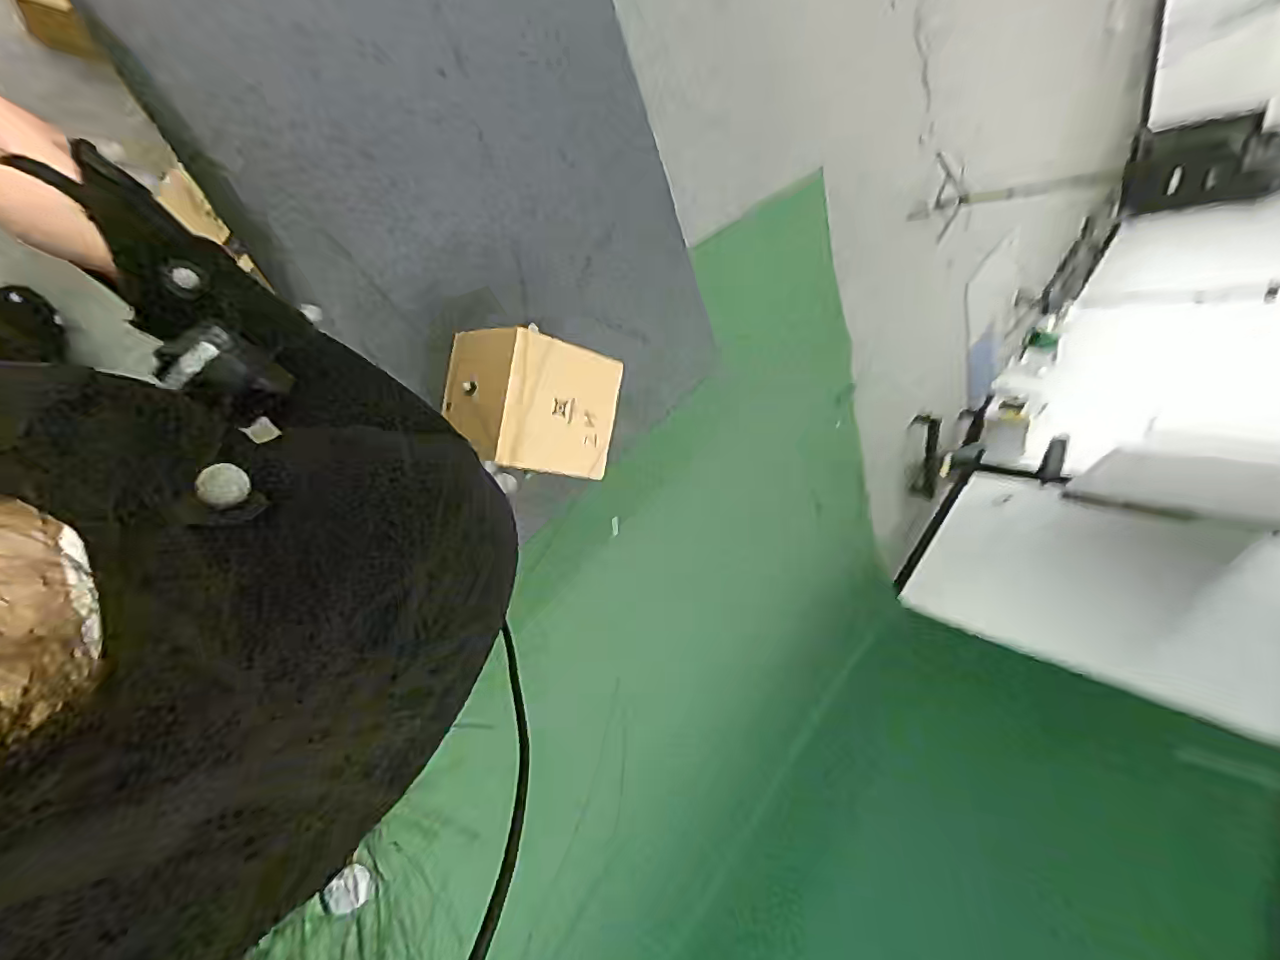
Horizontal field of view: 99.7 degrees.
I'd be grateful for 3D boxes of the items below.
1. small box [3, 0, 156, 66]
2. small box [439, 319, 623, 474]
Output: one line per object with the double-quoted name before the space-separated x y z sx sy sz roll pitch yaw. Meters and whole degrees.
"small box" -0.903 -0.806 0.864 0.179 0.176 0.168 -10 108 -43
"small box" -0.153 -0.108 0.742 0.179 0.176 0.168 9 93 -45
